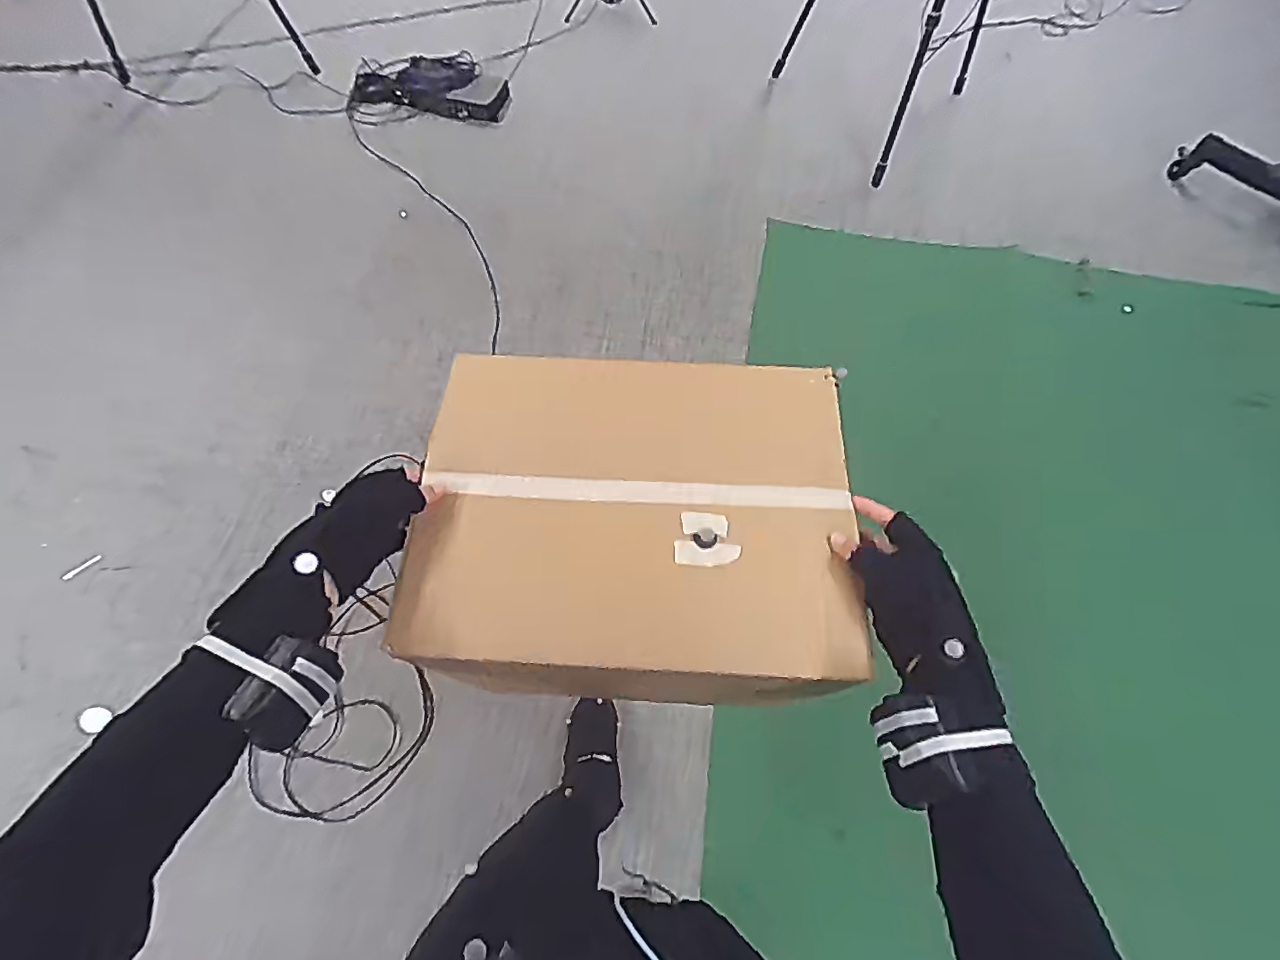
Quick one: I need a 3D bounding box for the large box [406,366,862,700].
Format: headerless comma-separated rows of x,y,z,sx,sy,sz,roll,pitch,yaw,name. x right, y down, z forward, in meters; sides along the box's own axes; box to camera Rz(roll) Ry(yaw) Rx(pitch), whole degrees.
-0.003,0.084,0.663,0.408,0.320,0.320,3,64,1,large box
